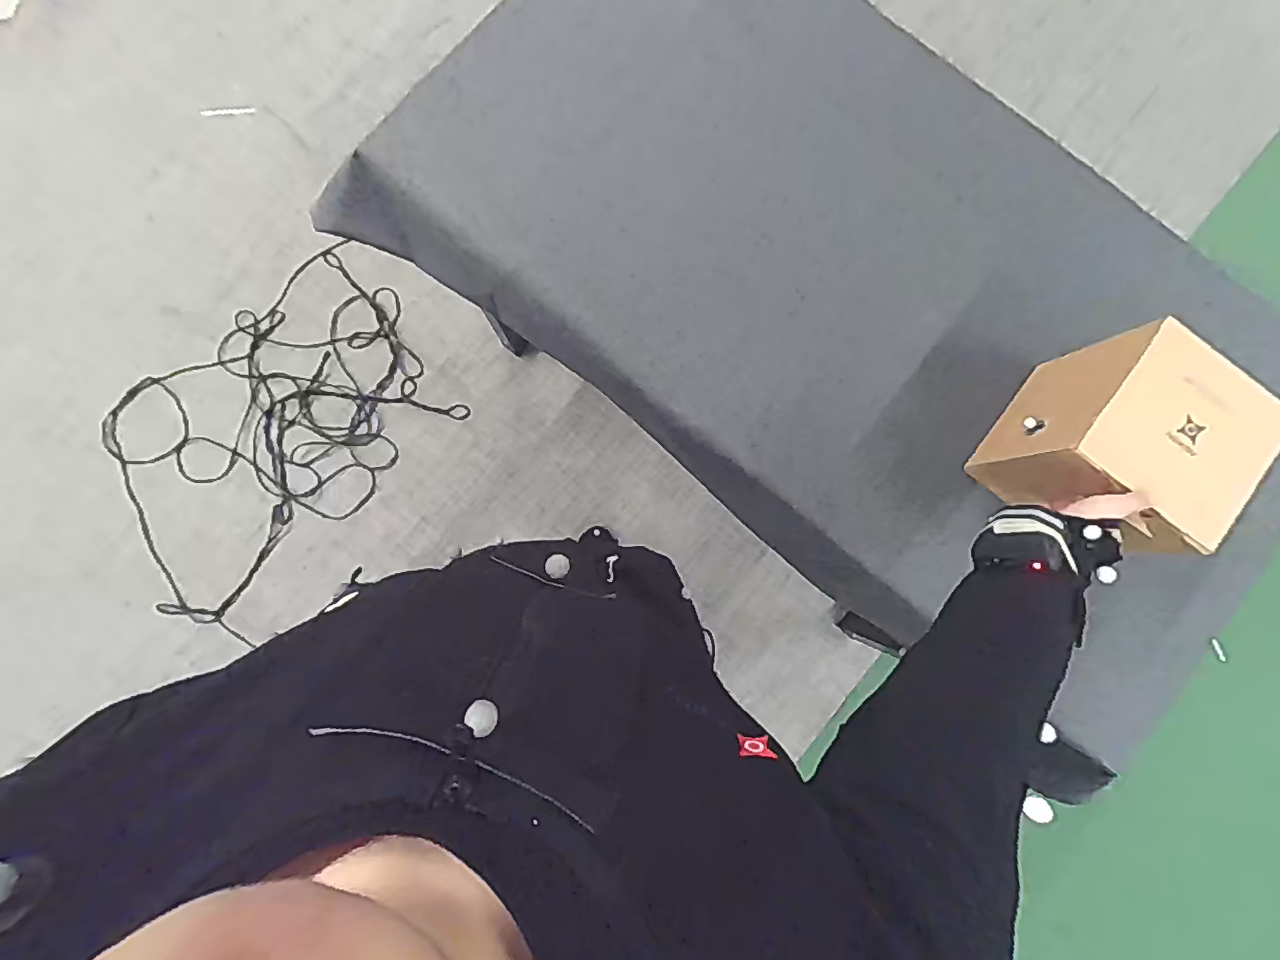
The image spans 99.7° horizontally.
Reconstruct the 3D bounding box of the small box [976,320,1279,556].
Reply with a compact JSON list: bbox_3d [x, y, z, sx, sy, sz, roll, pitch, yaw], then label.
[{"bbox_3d":[0.521,-0.035,0.600,0.168,0.176,0.179,38,83,0],"label":"small box"}]
